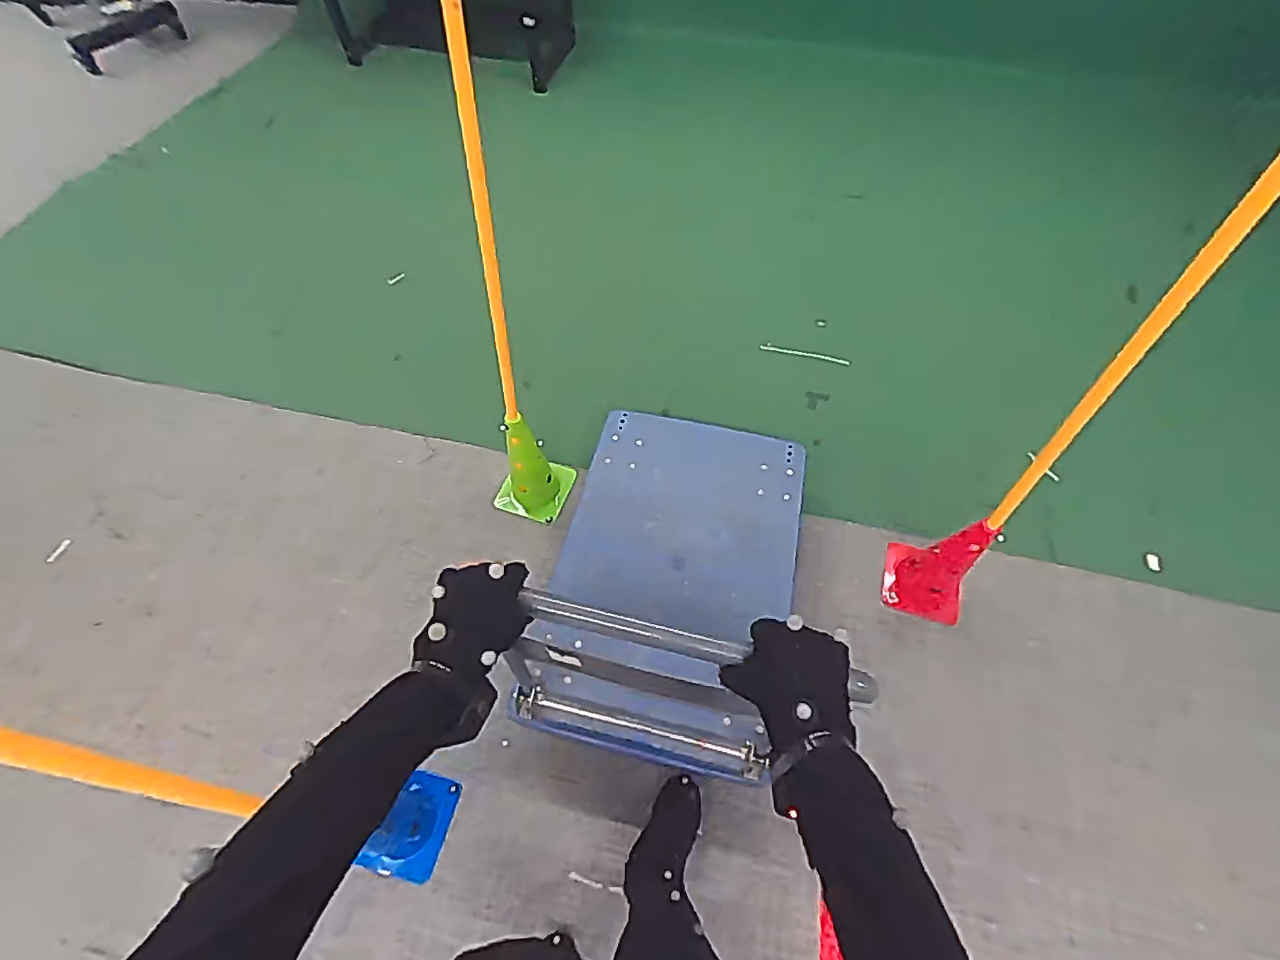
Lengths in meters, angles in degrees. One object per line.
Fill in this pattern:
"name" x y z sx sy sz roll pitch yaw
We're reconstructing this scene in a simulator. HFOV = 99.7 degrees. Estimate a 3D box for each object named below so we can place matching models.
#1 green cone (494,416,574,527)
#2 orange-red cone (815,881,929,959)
"green cone" -0.323 -0.052 1.510 0.202 0.368 0.200 15 59 10
"orange-red cone" 0.452 0.858 0.950 0.199 0.360 0.198 11 58 8
